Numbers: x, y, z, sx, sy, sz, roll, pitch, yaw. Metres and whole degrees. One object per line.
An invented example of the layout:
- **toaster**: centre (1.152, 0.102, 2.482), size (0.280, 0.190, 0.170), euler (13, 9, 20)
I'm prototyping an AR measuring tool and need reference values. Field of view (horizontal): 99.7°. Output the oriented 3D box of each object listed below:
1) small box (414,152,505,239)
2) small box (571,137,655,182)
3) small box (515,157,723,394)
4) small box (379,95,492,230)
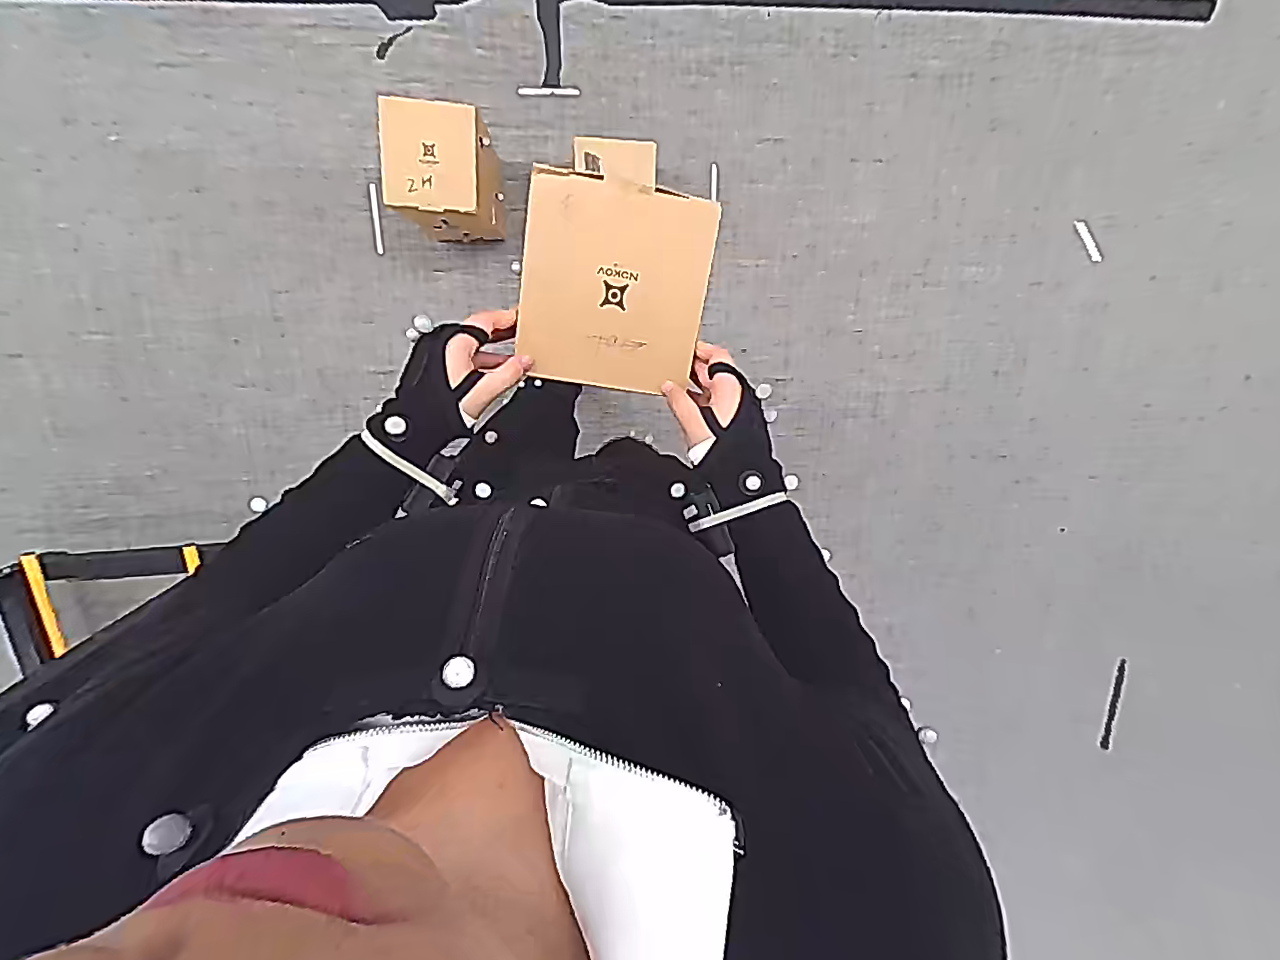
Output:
- **small box**: centre (-0.398, -0.634, 1.191), size (0.168, 0.176, 0.179), euler (-3, 107, -4)
- **small box**: centre (-0.066, -0.649, 1.221), size (0.179, 0.176, 0.168), euler (0, 106, -7)
- **small box**: centre (-0.029, -0.201, 0.556), size (0.168, 0.176, 0.179), euler (8, 109, -8)
- **small box**: centre (-0.381, -0.592, 1.031), size (0.168, 0.176, 0.179), euler (3, 106, -6)
